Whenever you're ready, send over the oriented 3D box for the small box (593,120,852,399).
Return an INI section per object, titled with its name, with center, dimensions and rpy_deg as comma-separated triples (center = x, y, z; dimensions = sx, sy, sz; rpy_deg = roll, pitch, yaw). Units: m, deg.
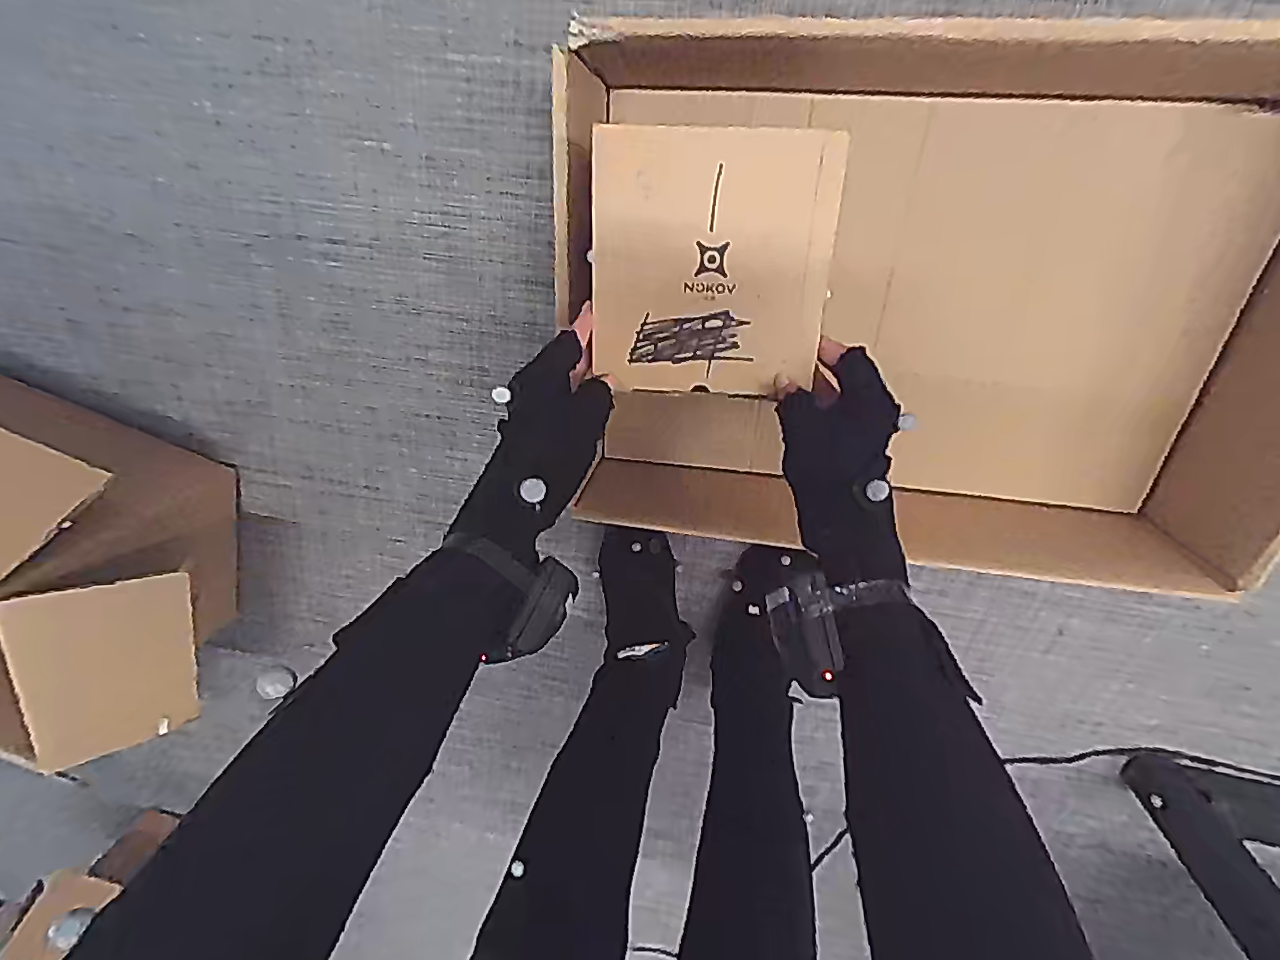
[small box]
center = 0.056, -0.176, 0.448
dimensions = 0.168, 0.176, 0.179
rpy_deg = 4, 112, 4
